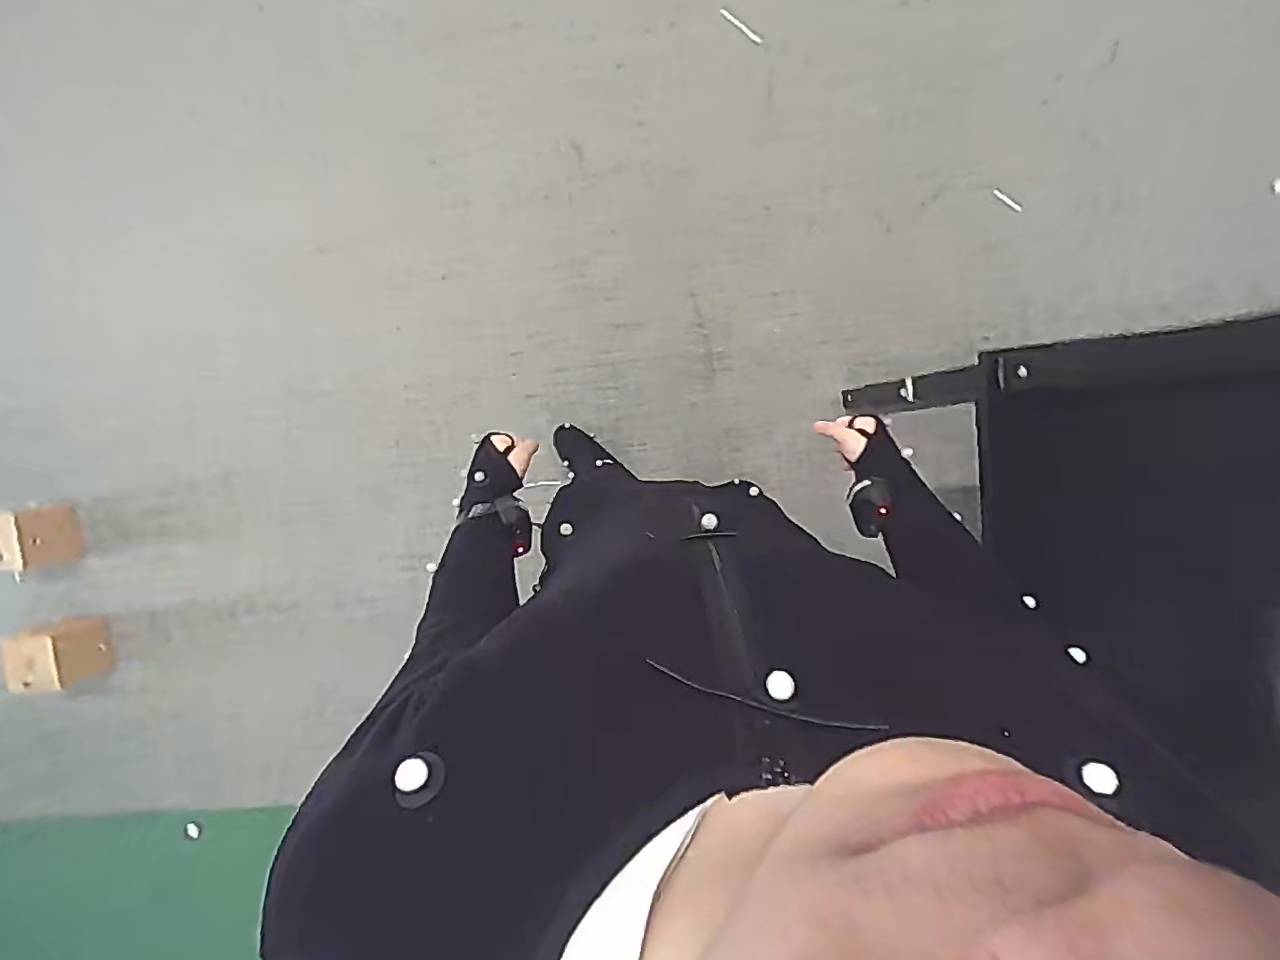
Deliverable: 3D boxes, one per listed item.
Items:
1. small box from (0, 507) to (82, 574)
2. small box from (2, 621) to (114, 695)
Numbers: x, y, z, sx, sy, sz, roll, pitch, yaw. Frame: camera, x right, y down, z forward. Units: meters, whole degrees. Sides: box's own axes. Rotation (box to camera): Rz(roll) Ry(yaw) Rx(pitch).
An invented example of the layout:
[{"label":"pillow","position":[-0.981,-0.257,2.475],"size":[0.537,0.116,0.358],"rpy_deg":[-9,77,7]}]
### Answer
[{"label":"small box","position":[-1.870,0.182,1.652],"size":[0.168,0.176,0.179],"rpy_deg":[-3,95,3]},{"label":"small box","position":[-1.806,0.548,1.686],"size":[0.168,0.176,0.179],"rpy_deg":[-2,95,3]}]
